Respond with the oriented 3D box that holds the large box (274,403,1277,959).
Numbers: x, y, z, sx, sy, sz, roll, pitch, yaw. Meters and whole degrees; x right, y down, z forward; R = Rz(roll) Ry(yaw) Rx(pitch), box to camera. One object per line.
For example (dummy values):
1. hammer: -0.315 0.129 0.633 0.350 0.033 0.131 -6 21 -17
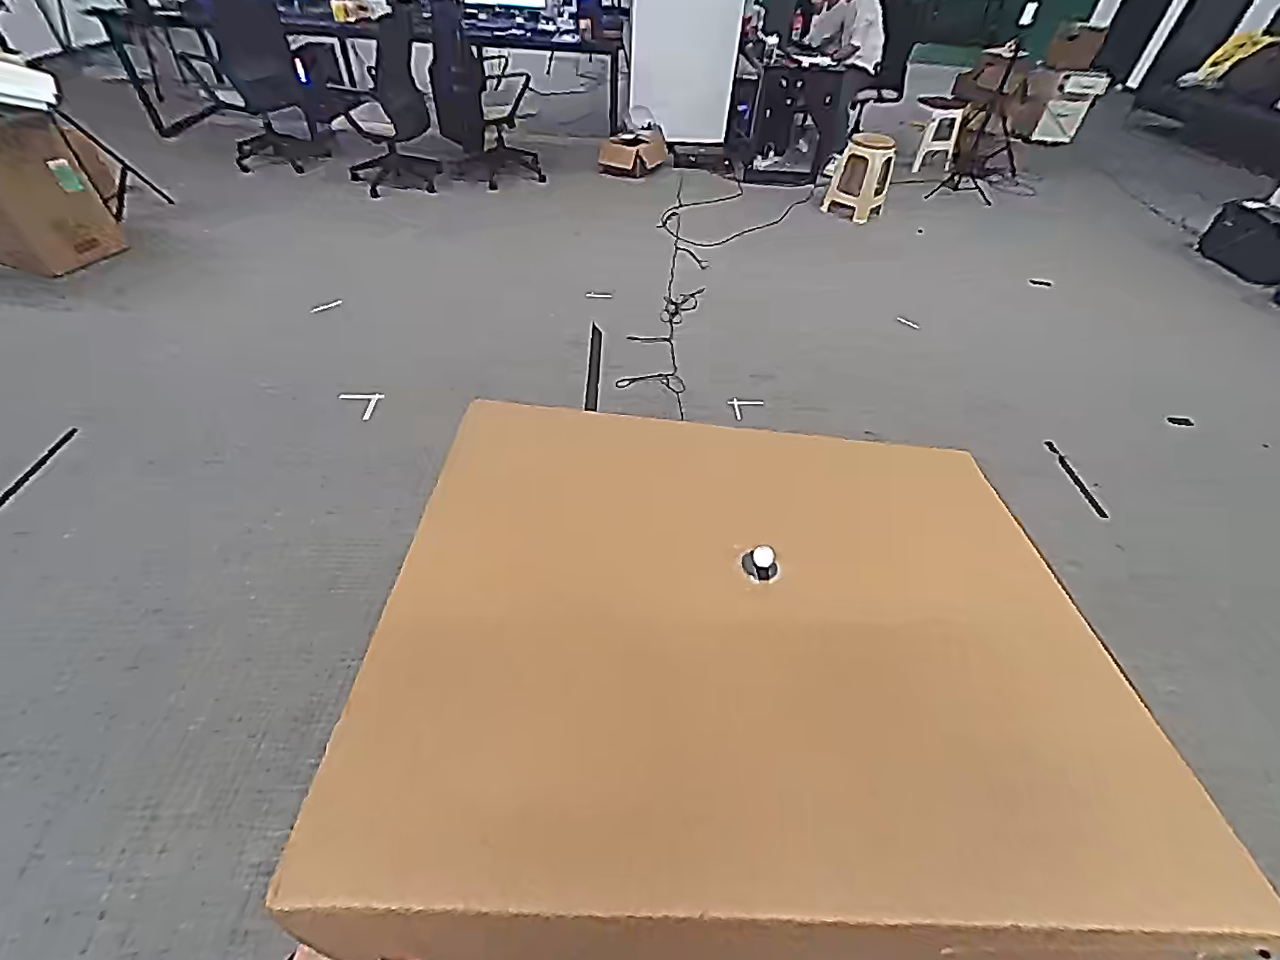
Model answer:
1. large box: 0.046 0.162 0.415 0.408 0.320 0.320 5 43 -5
